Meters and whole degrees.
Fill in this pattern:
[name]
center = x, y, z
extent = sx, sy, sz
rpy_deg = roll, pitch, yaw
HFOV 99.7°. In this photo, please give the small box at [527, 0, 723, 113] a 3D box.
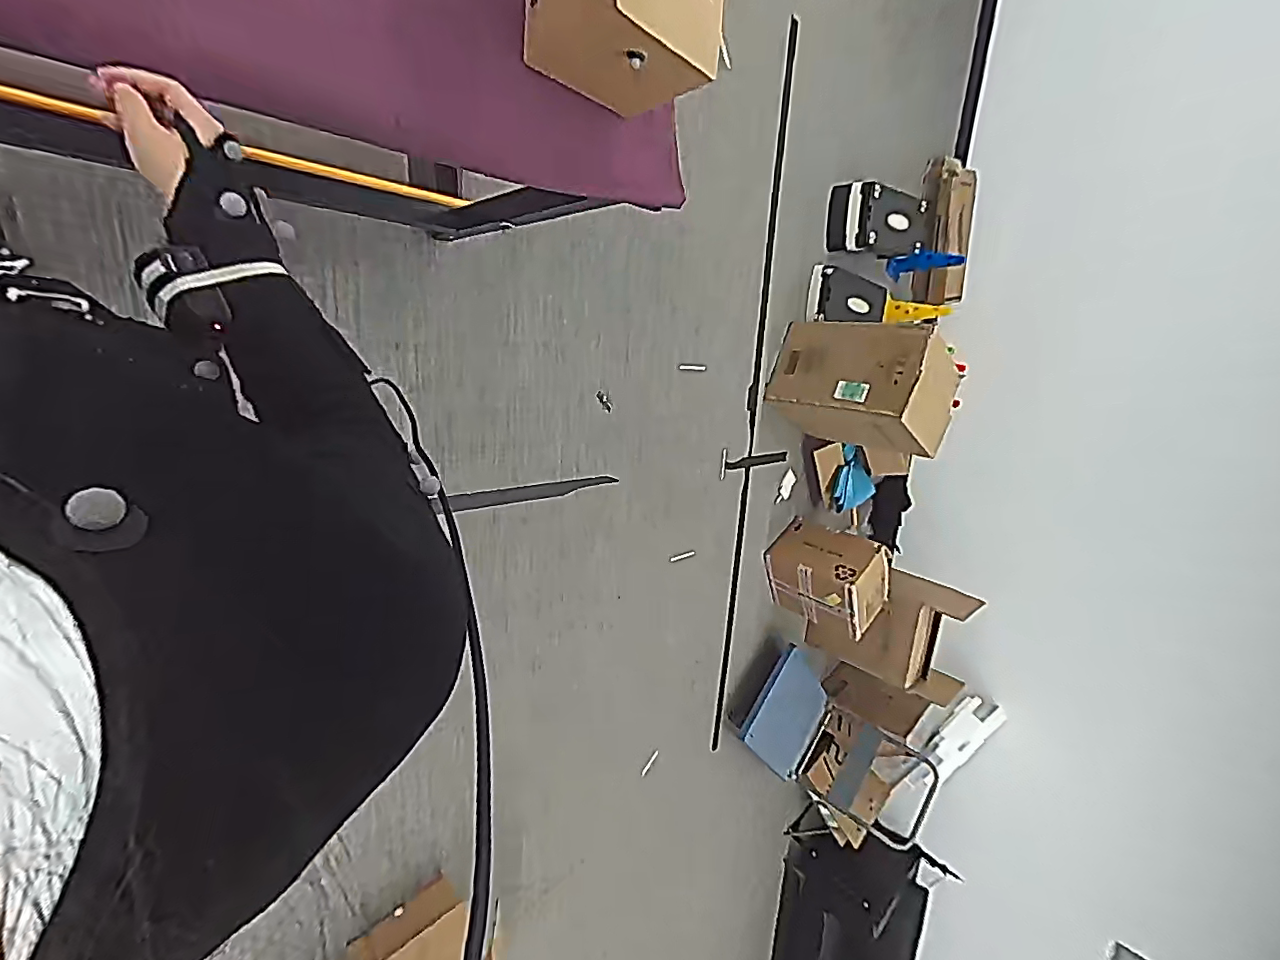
[small box]
center = -0.019, -0.579, 0.650
extent = 0.179, 0.176, 0.168
rpy_deg = -6, 106, -45
